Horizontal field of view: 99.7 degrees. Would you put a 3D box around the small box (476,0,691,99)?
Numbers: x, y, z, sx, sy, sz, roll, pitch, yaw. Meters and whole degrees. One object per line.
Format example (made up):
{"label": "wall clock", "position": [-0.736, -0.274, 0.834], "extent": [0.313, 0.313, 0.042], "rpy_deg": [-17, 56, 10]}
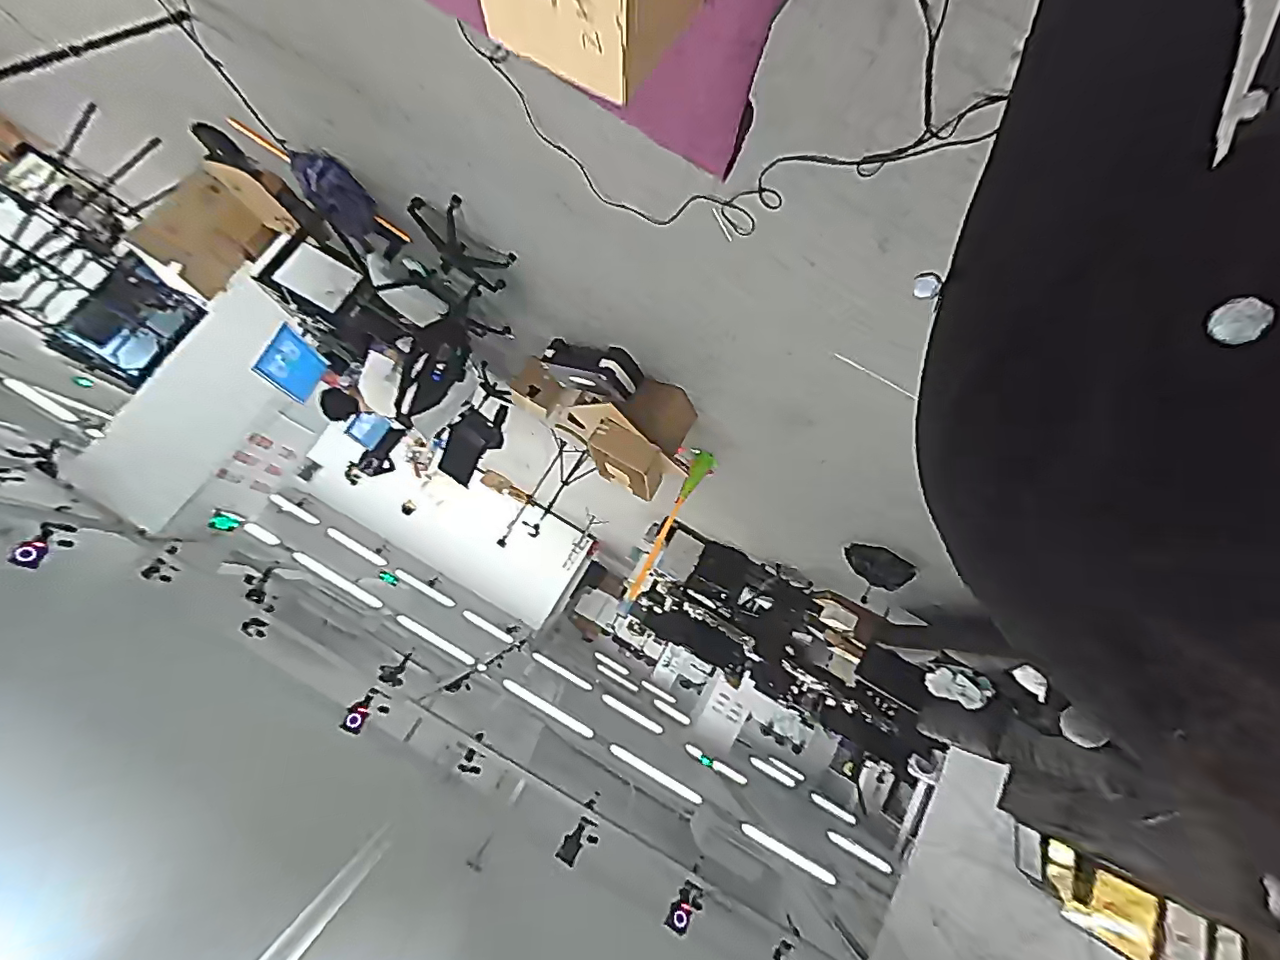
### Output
{"label": "small box", "position": [-0.049, -0.525, 0.513], "extent": [0.179, 0.176, 0.168], "rpy_deg": [30, 166, 5]}
